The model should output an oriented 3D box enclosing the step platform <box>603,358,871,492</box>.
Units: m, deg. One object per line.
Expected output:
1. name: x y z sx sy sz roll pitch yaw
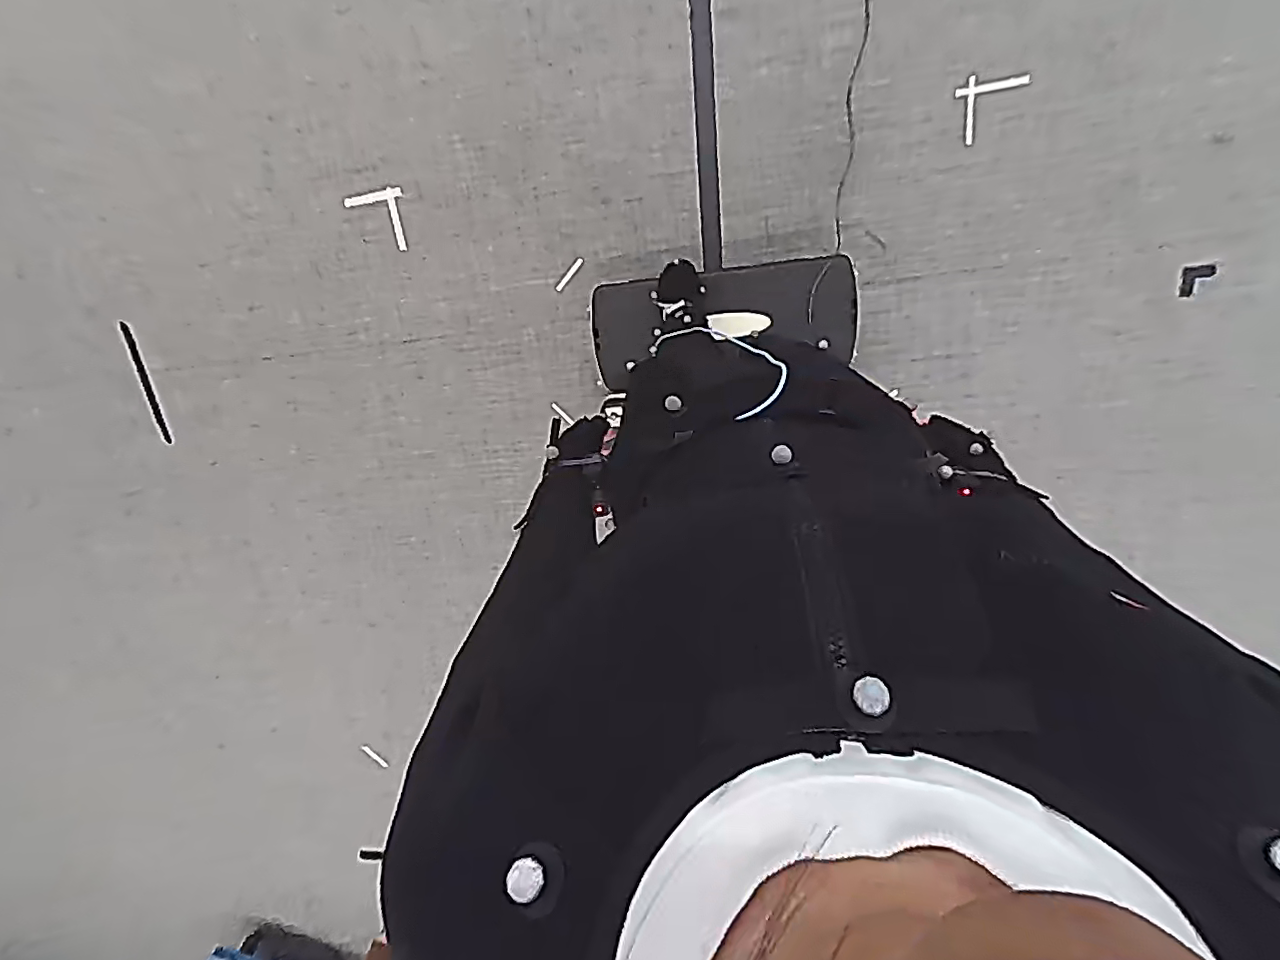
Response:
1. step platform: 0.245 -0.141 1.442 0.684 0.204 0.286 -5 106 11
